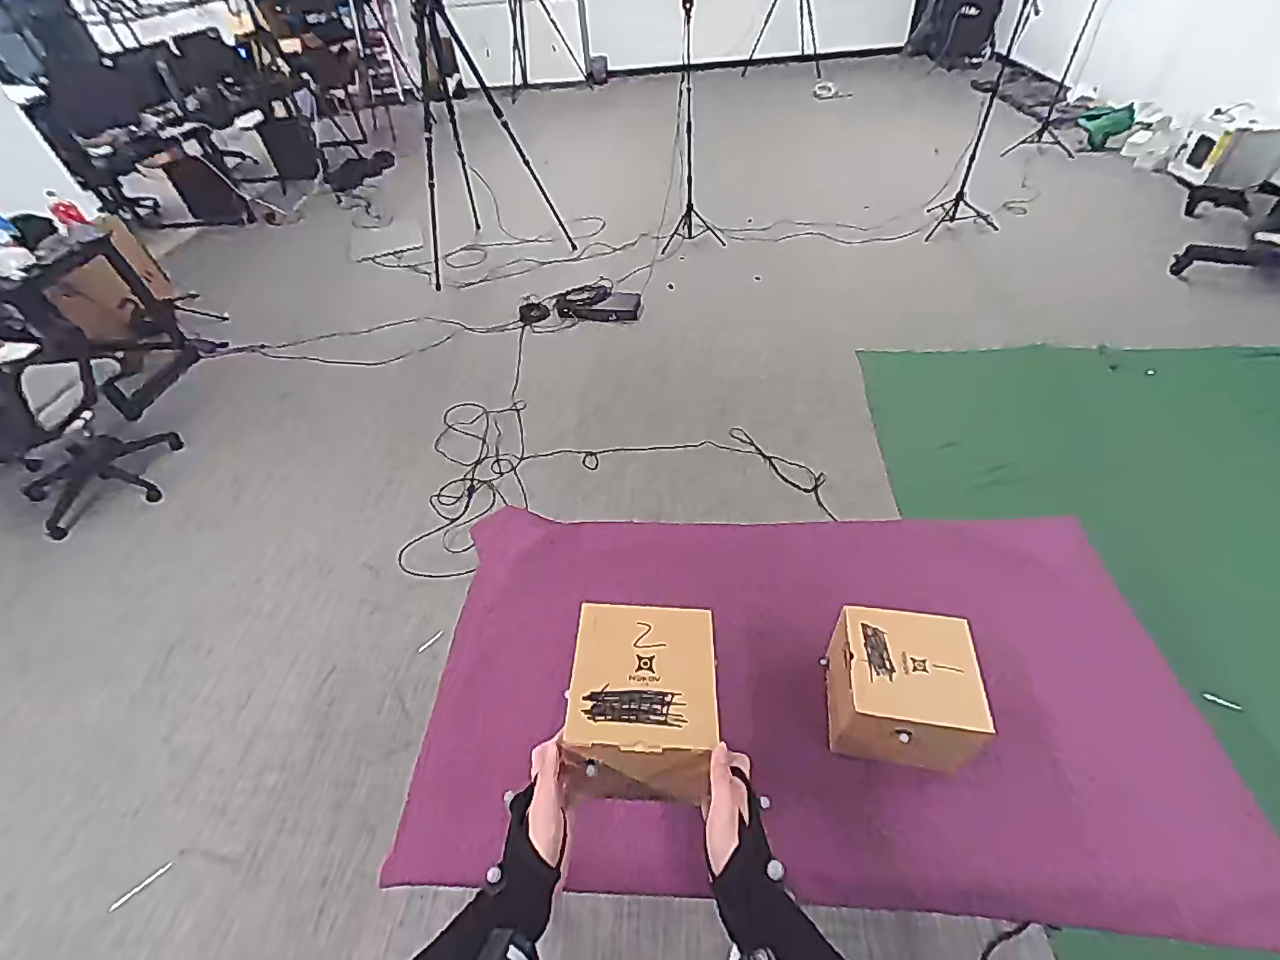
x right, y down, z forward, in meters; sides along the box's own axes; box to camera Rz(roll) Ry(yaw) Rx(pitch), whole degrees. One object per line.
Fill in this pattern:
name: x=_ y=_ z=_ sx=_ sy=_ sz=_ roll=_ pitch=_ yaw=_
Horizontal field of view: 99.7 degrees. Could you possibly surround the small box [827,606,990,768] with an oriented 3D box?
small box: x=0.385 y=0.314 z=0.816 sx=0.179 sy=0.176 sz=0.168 roll=6 pitch=48 yaw=10
